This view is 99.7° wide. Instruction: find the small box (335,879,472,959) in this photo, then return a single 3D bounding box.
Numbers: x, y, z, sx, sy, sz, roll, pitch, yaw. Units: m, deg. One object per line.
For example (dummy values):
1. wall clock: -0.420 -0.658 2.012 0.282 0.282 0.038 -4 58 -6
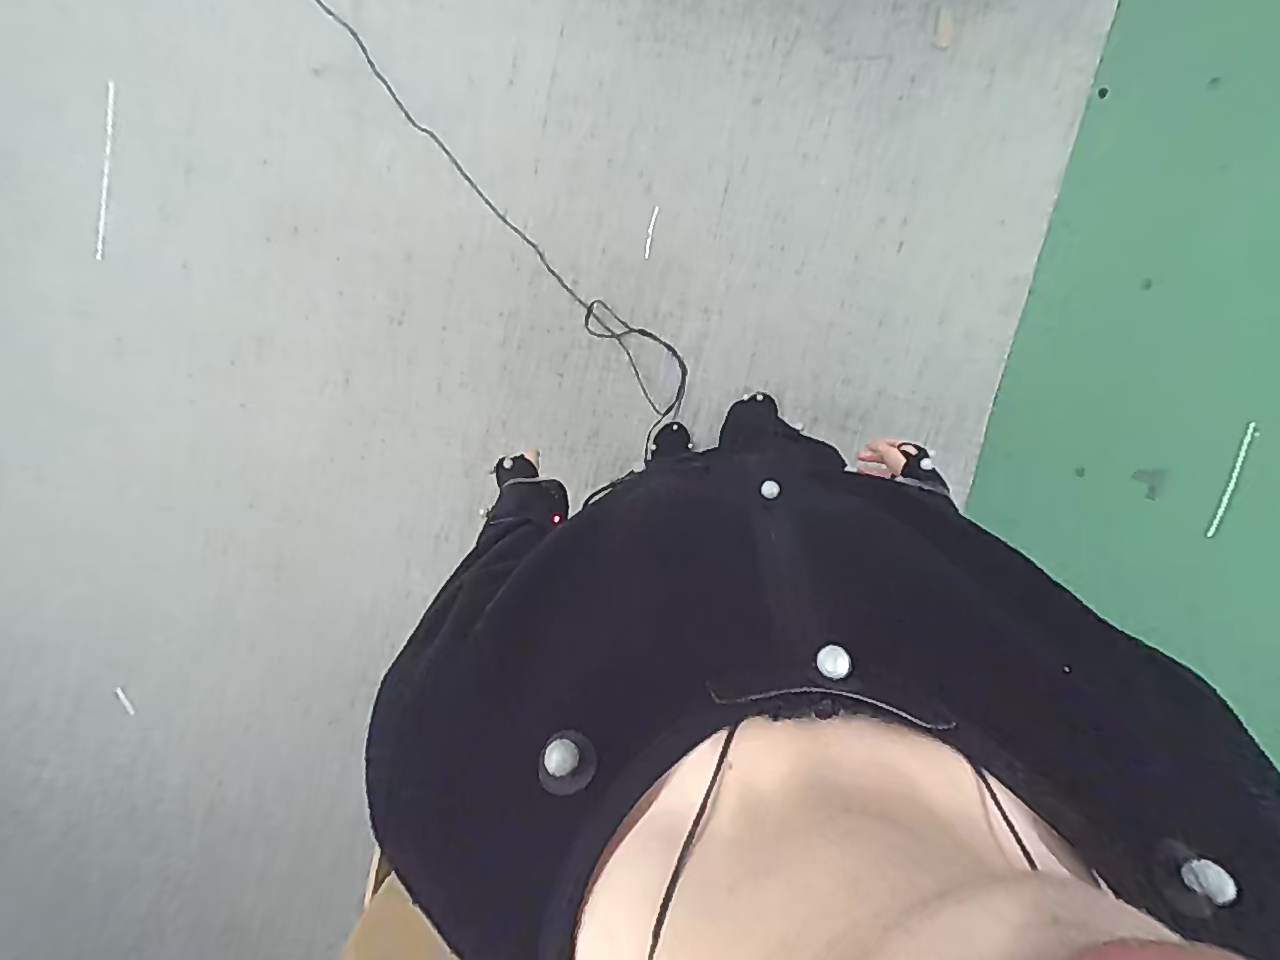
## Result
1. small box: -0.371 0.749 0.797 0.168 0.176 0.179 24 98 2
